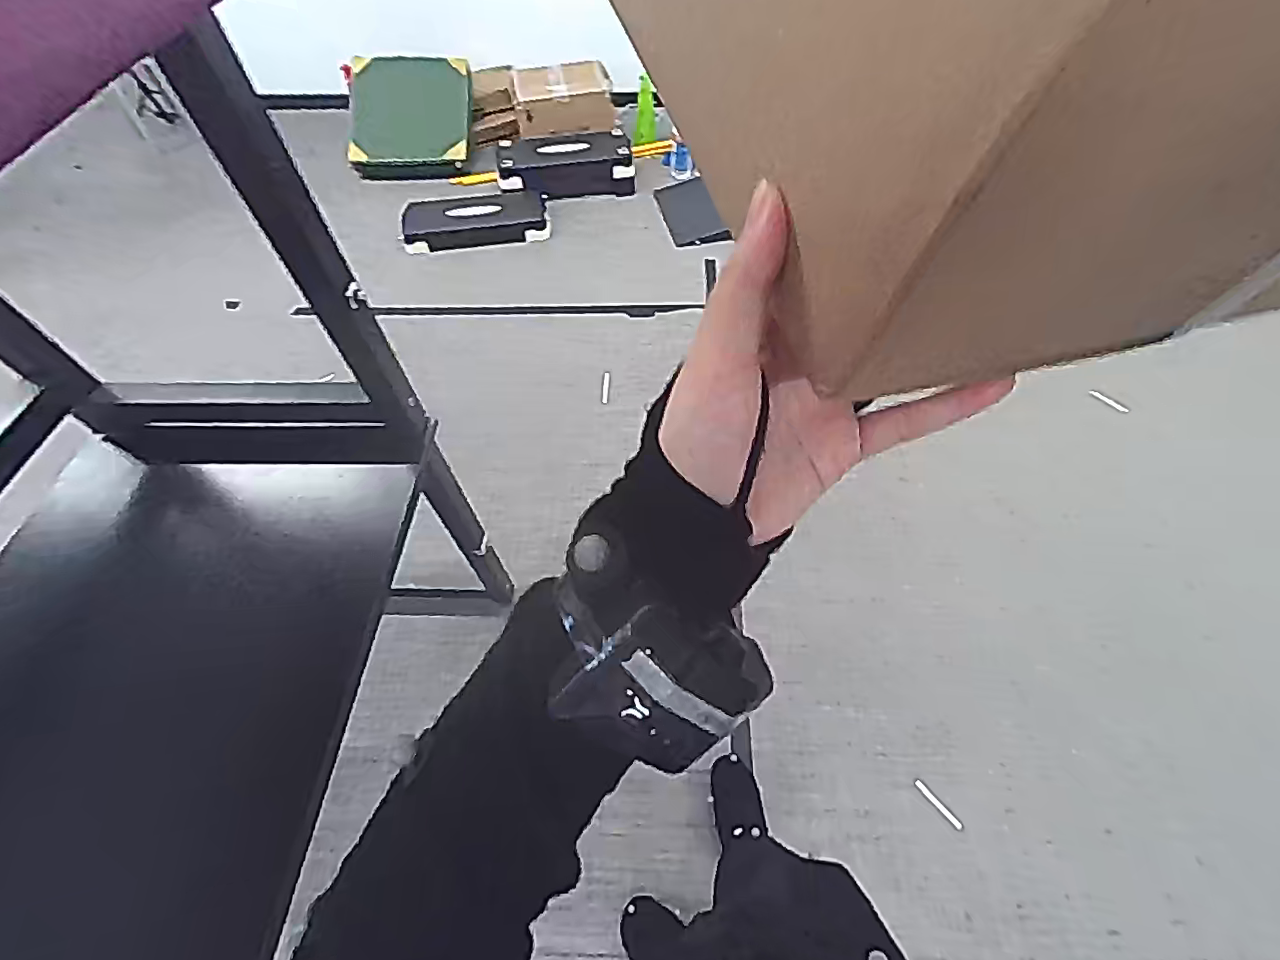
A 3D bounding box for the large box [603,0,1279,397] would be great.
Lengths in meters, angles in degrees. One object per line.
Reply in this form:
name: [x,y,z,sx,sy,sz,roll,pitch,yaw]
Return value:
large box: [0.164,-0.292,0.166,0.320,0.320,0.408,-11,62,-13]
